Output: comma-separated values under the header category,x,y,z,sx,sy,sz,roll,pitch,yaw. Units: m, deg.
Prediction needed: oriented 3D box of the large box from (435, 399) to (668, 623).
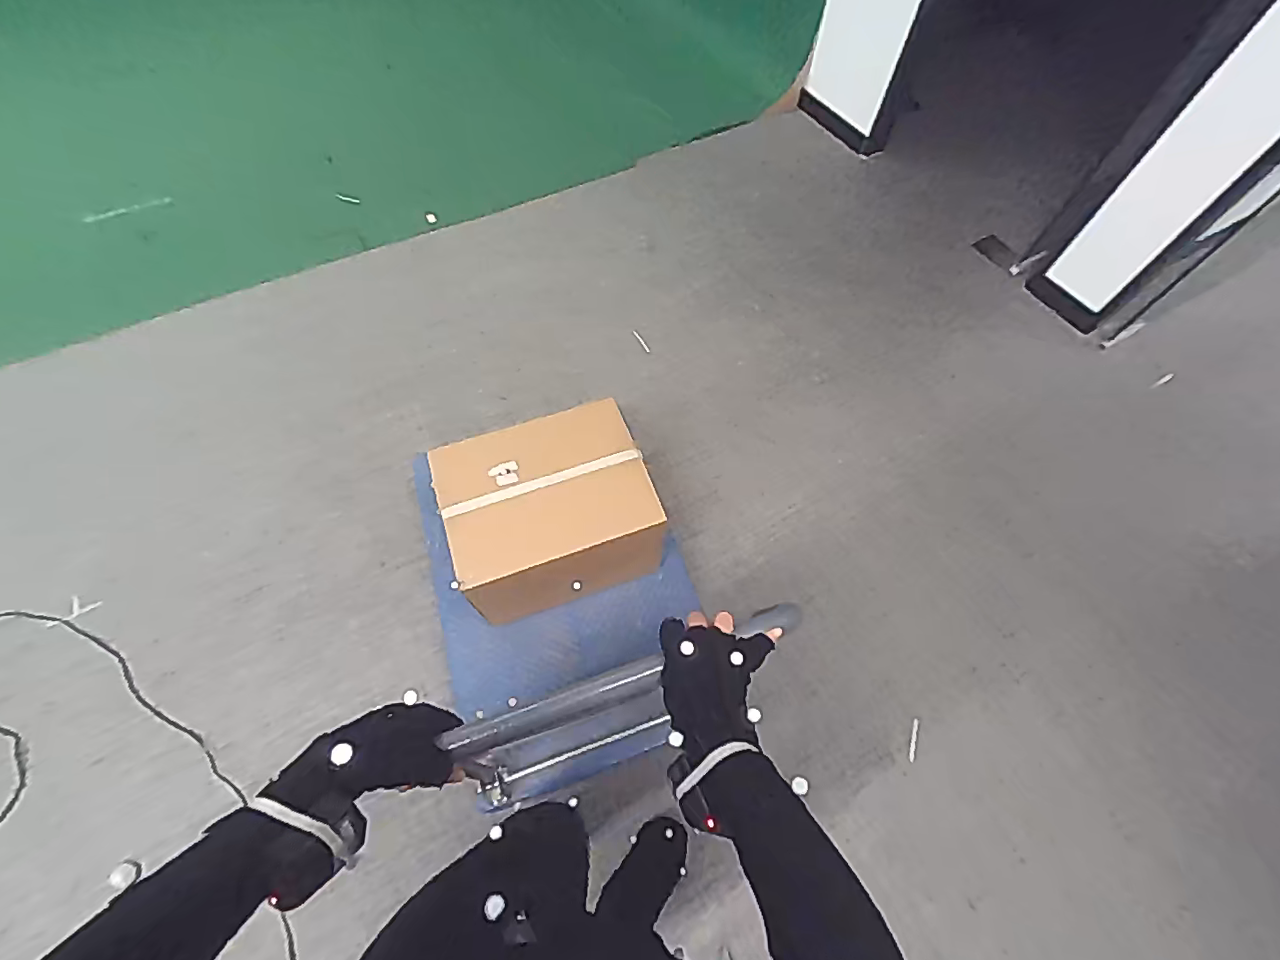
category,x,y,z,sx,sy,sz,roll,pitch,yaw
large box,-0.183,0.079,1.208,0.408,0.320,0.320,-19,64,-10
